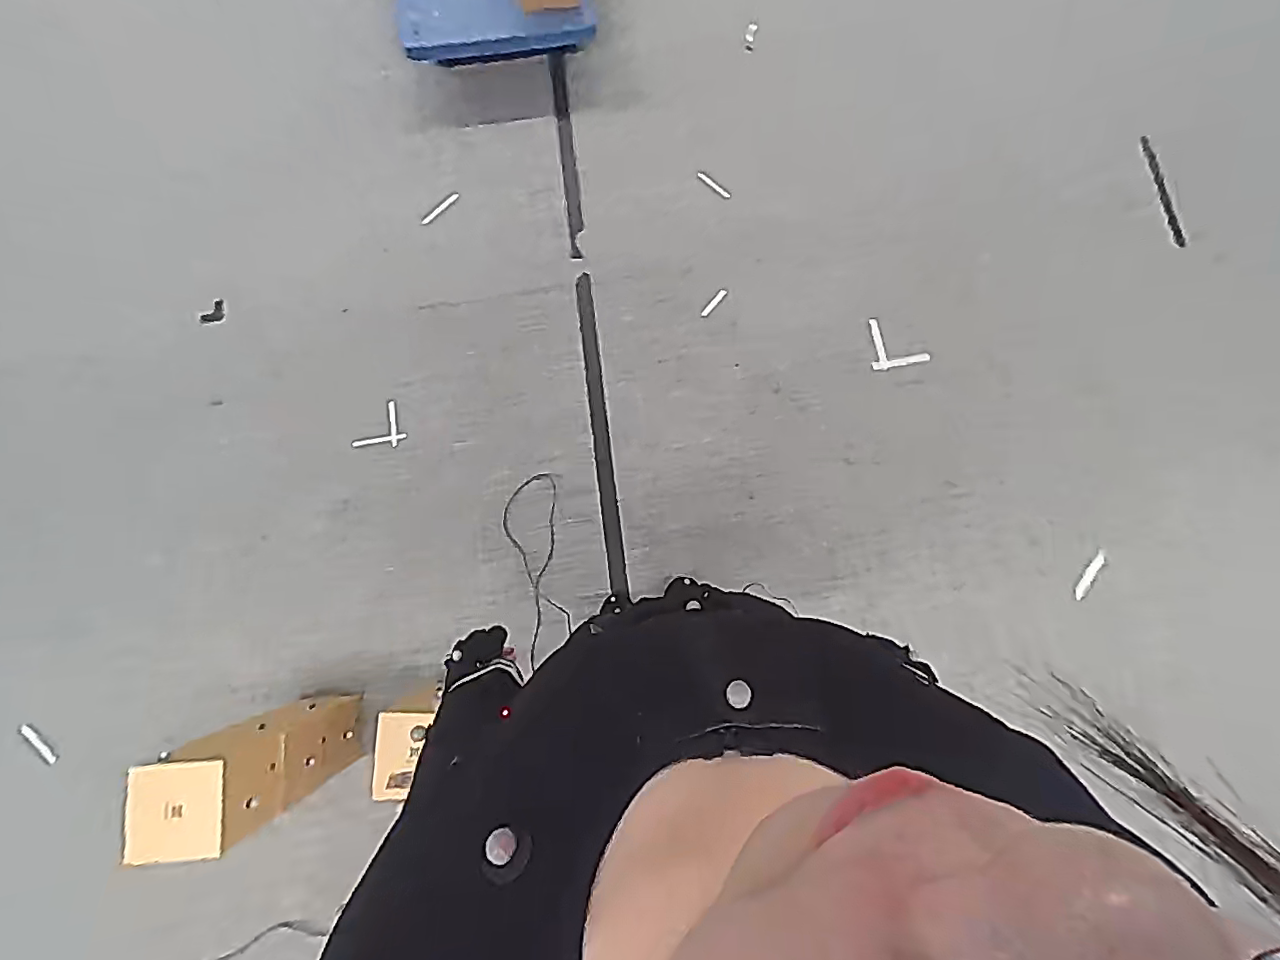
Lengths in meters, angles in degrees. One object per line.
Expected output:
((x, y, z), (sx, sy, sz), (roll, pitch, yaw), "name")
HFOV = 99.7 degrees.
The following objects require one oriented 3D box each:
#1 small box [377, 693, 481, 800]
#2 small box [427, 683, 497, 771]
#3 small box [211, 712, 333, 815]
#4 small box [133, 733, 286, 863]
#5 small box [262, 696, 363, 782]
((-0.469, 0.596, 1.224), (0.168, 0.176, 0.179), (1, 81, 1), "small box")
((-0.470, 0.625, 1.386), (0.168, 0.176, 0.179), (-1, 82, 1), "small box")
((-0.823, 0.632, 1.219), (0.179, 0.176, 0.168), (-3, 81, 1), "small box")
((-0.827, 0.609, 1.058), (0.179, 0.176, 0.168), (-5, 82, 0), "small box")
((-0.831, 0.660, 1.382), (0.179, 0.176, 0.168), (-4, 81, 0), "small box")
